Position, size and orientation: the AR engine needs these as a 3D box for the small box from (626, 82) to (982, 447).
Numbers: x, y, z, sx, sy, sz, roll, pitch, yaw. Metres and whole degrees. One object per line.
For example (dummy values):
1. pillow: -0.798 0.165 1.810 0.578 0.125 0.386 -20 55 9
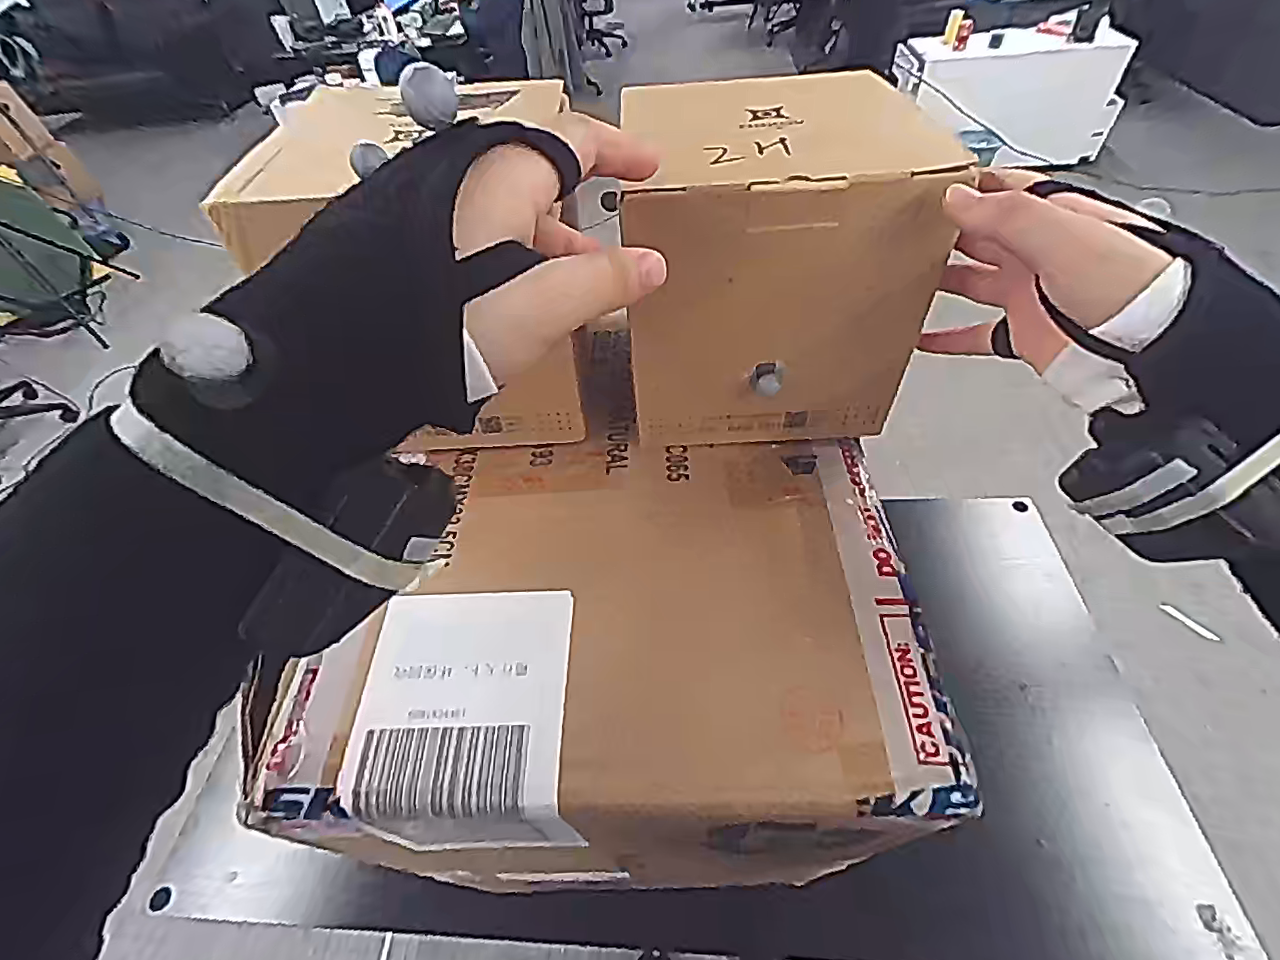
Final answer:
1. small box: 0.079 -0.142 0.363 0.168 0.176 0.179 -3 48 3

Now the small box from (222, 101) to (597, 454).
1. small box: -0.119 -0.137 0.370 0.168 0.176 0.179 -3 48 -1
